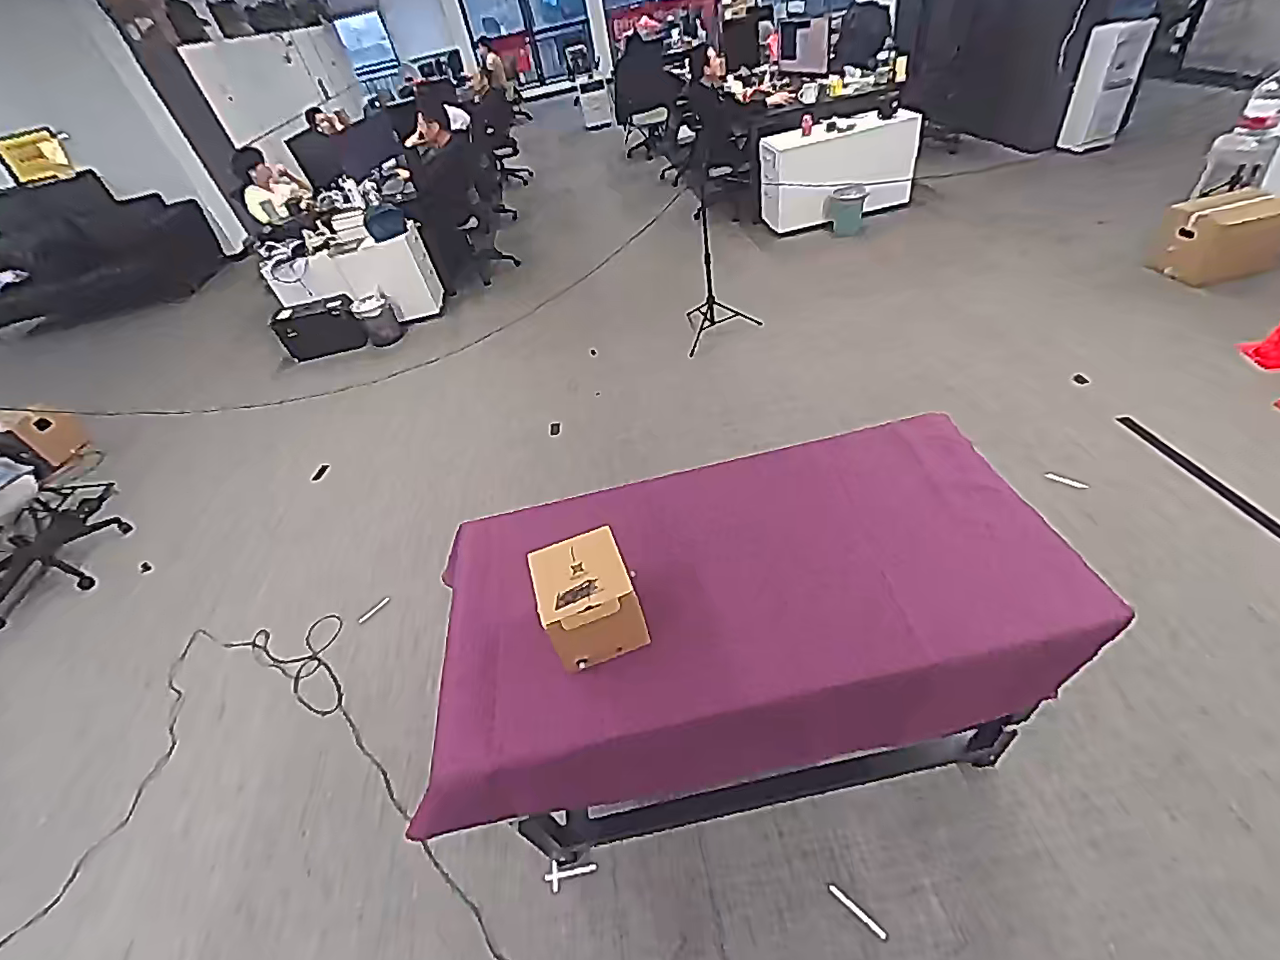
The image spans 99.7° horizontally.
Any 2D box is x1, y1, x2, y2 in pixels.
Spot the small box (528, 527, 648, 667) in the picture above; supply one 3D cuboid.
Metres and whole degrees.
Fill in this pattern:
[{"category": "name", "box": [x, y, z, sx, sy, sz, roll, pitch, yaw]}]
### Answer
[{"category": "small box", "box": [-0.094, 0.225, 1.013, 0.168, 0.176, 0.179, -19, 42, -7]}]
